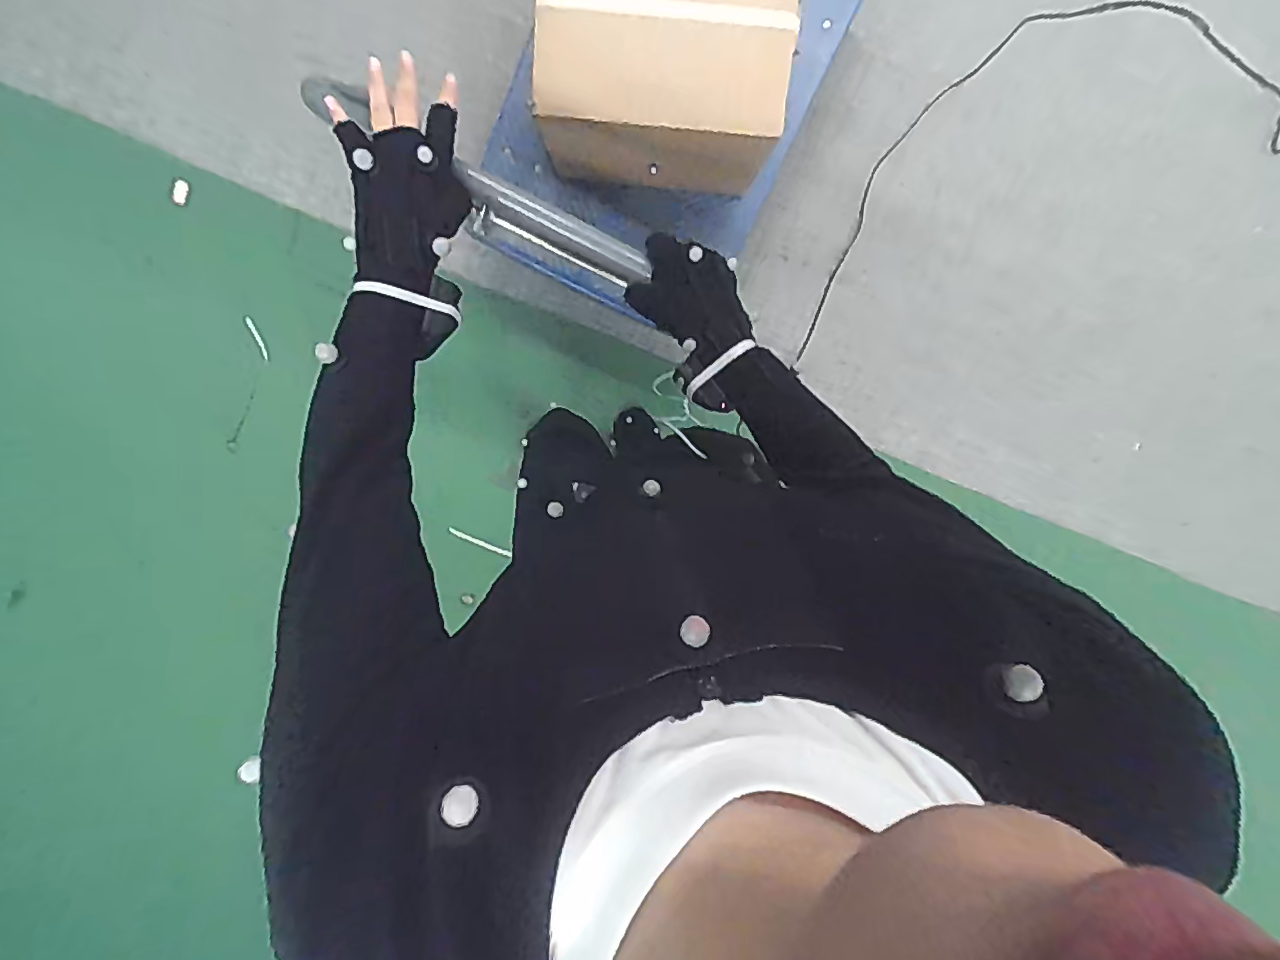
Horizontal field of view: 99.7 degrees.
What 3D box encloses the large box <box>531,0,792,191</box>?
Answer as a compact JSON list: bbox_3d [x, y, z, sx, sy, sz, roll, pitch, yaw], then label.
[{"bbox_3d":[0.035,-0.742,0.978,0.408,0.320,0.320,5,102,-1],"label":"large box"}]
